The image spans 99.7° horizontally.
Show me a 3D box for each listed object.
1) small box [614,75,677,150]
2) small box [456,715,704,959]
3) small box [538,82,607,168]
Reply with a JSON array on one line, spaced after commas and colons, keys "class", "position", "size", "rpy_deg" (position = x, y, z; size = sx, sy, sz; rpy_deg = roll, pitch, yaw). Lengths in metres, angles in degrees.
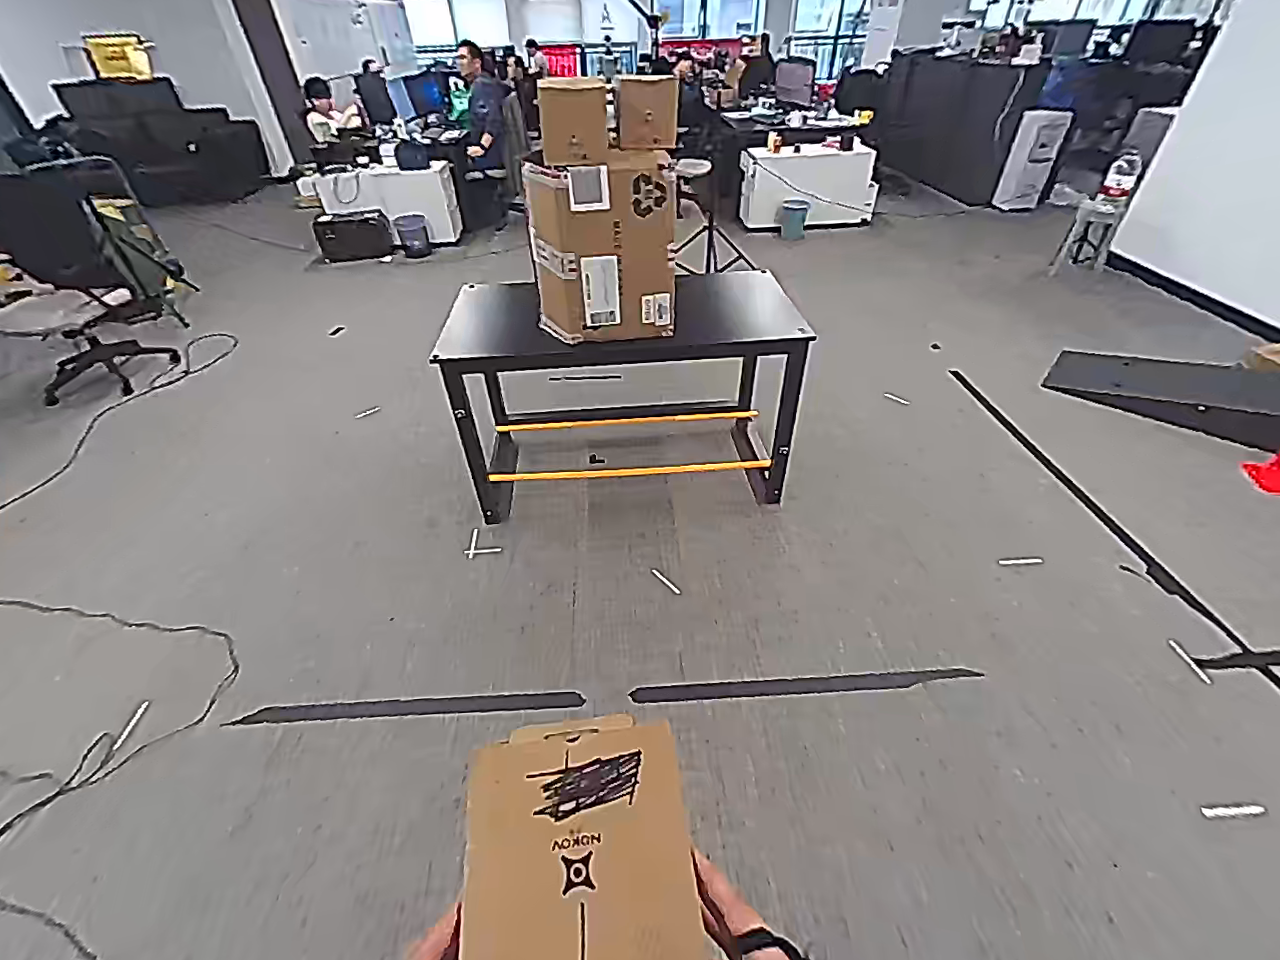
[{"class": "small box", "position": [0.014, -1.082, 1.595], "size": [0.168, 0.176, 0.179], "rpy_deg": [-4, 41, -6]}, {"class": "small box", "position": [-0.049, 0.326, 0.458], "size": [0.168, 0.176, 0.179], "rpy_deg": [-6, 49, -5]}, {"class": "small box", "position": [-0.176, -0.932, 1.417], "size": [0.168, 0.176, 0.179], "rpy_deg": [-5, 42, -6]}]
